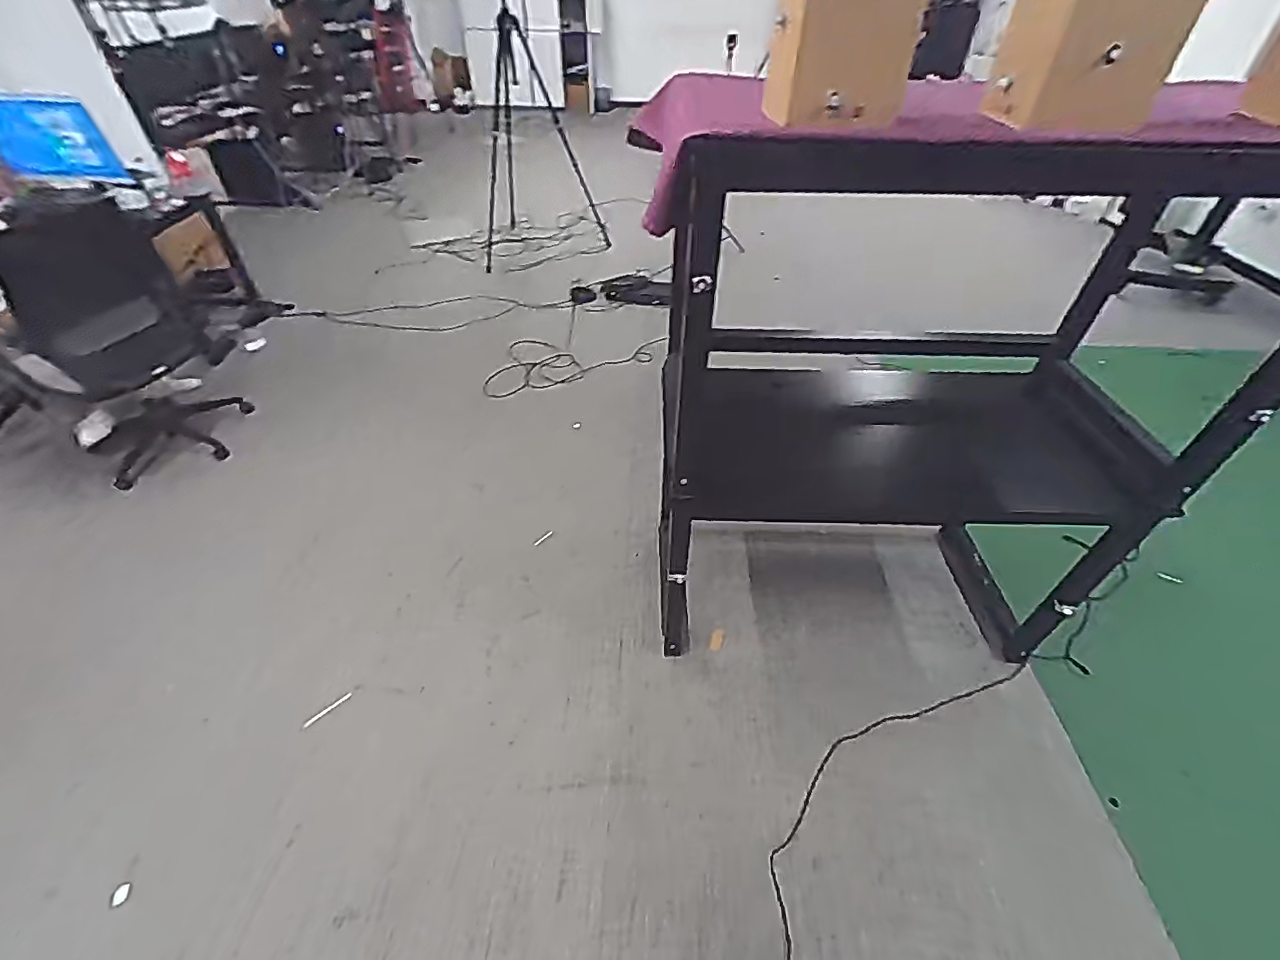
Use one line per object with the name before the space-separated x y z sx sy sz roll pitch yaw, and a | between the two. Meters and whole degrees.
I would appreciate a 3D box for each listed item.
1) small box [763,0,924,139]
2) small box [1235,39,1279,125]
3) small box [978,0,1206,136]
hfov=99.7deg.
small box | 0.287 -0.625 0.808 0.168 0.176 0.179 -1 43 0
small box | 1.088 -0.633 0.812 0.168 0.176 0.179 1 44 2
small box | 0.657 -0.631 0.812 0.179 0.176 0.168 1 42 3
